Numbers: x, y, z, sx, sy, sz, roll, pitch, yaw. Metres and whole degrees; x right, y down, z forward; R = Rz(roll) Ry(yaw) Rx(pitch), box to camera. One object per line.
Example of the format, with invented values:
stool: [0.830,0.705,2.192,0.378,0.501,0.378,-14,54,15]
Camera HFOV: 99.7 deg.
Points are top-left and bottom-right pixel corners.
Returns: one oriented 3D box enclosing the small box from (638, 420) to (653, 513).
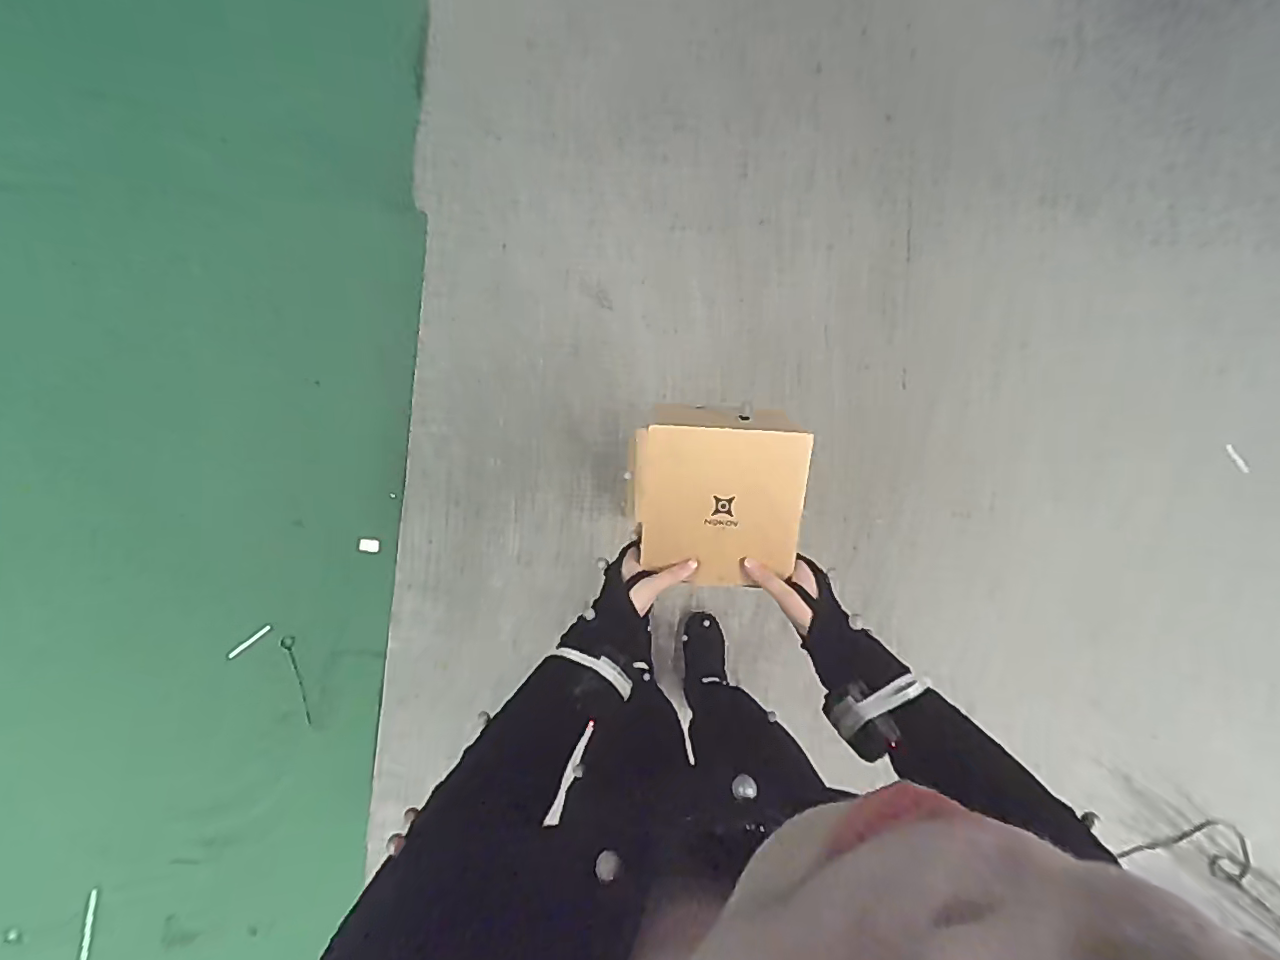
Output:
small box: [0.088,-0.018,1.032,0.179,0.176,0.168,2,87,-1]

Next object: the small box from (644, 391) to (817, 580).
small box: [0.093,-0.004,0.633,0.168,0.176,0.179,4,110,3]
